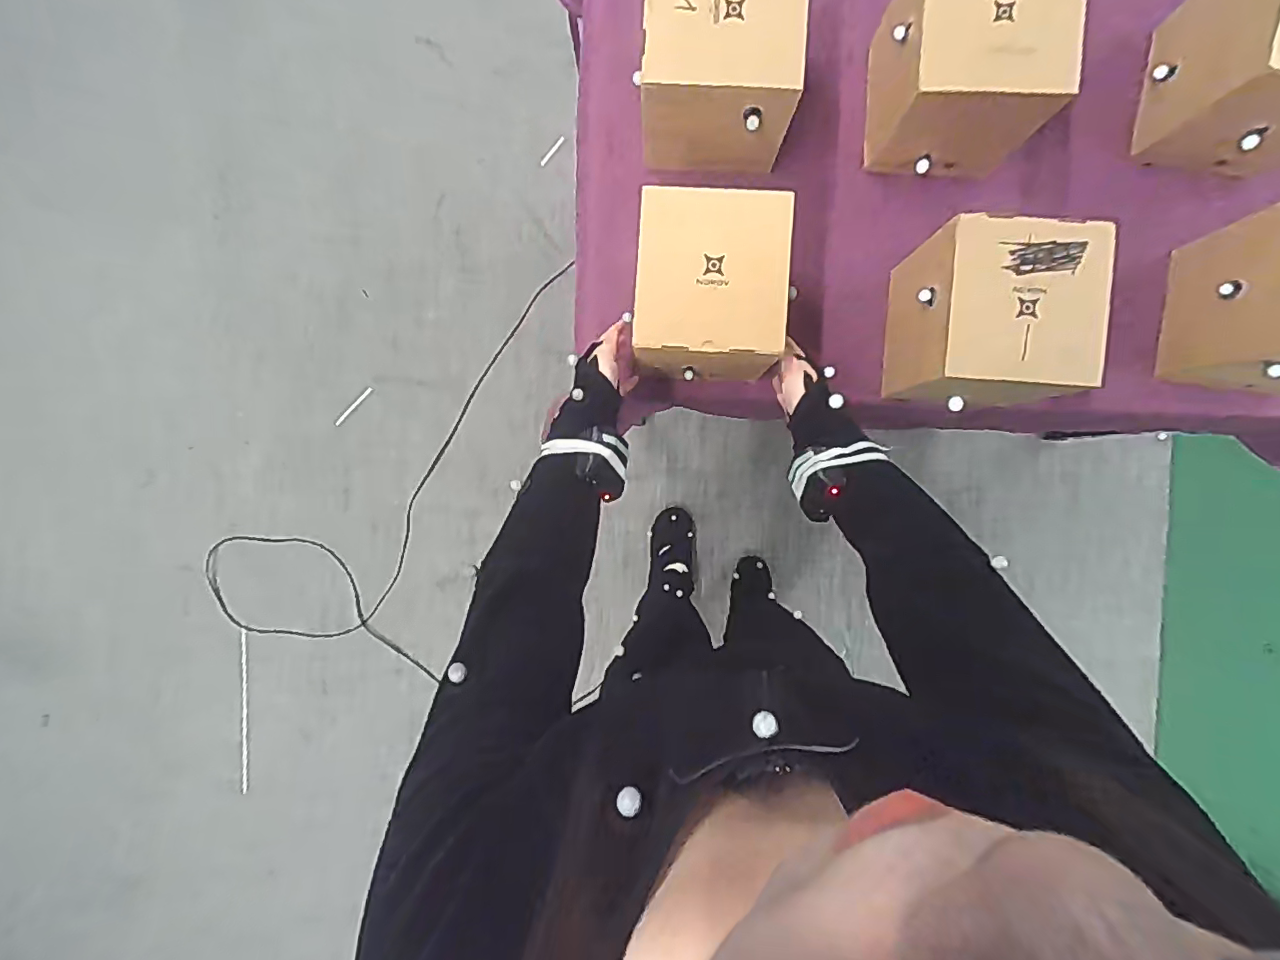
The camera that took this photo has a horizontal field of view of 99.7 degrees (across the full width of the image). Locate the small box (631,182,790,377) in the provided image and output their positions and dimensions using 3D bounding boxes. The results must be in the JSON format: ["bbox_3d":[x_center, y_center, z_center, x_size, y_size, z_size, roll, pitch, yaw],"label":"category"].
[{"bbox_3d":[0.077,-0.232,0.661,0.168,0.176,0.179,3,92,2],"label":"small box"}]

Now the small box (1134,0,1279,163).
[{"bbox_3d":[0.734,-0.501,0.625,0.168,0.176,0.179,9,93,2],"label":"small box"}]

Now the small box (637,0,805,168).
[{"bbox_3d":[0.090,-0.504,0.653,0.179,0.176,0.168,3,91,2],"label":"small box"}]

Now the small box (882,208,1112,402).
[{"bbox_3d":[0.407,-0.195,0.646,0.168,0.176,0.179,4,91,3],"label":"small box"}]
